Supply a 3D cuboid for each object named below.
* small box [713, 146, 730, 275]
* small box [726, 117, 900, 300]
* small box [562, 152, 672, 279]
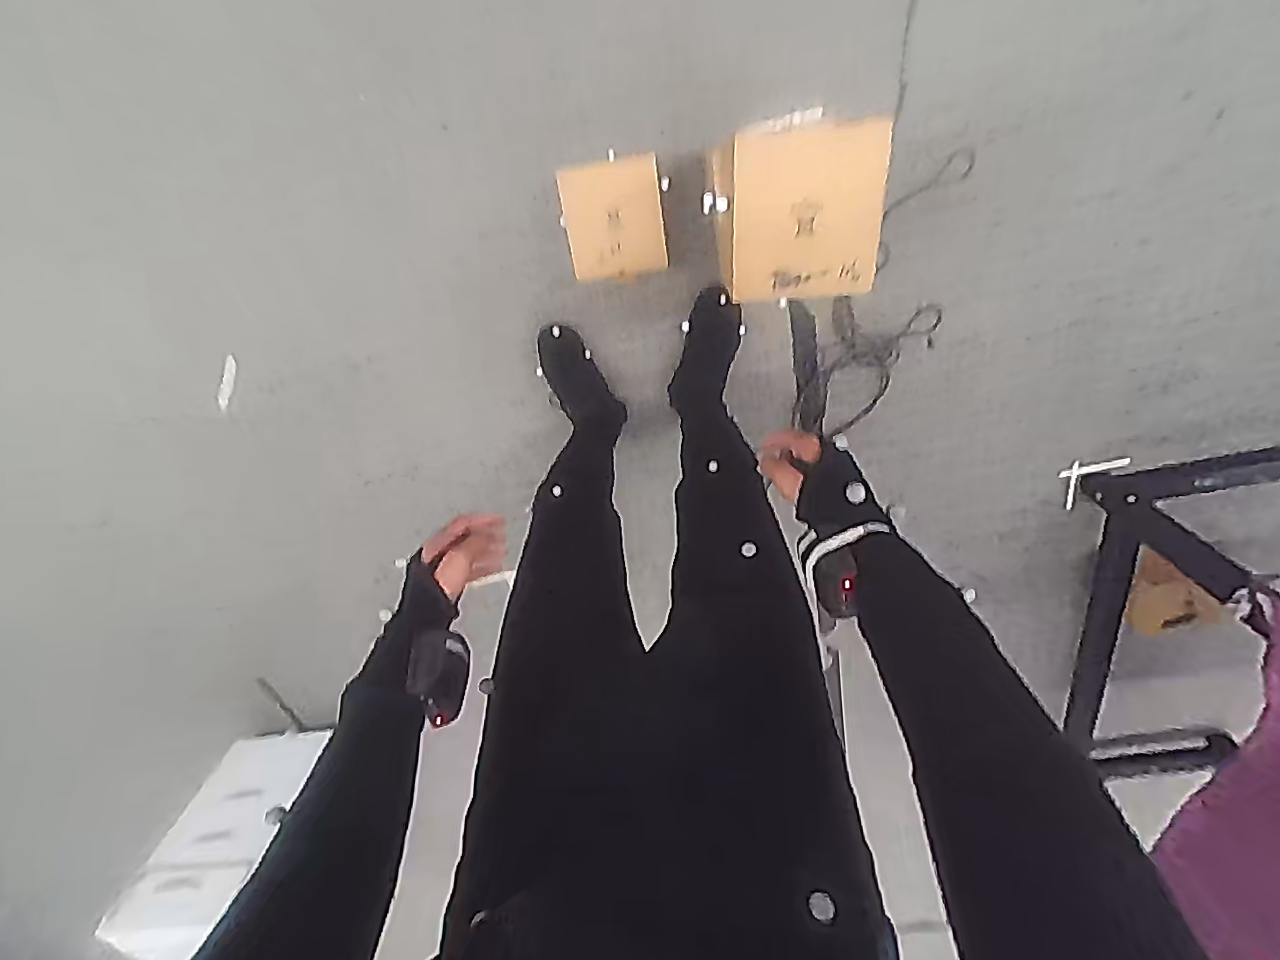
[{"bbox_3d":[0.205,-0.416,0.807,0.179,0.176,0.168,-8,120,8],"label":"small box"},{"bbox_3d":[0.195,-0.331,0.668,0.168,0.176,0.179,-2,120,5],"label":"small box"},{"bbox_3d":[-0.033,-0.476,0.971,0.168,0.176,0.179,-5,121,7],"label":"small box"}]
